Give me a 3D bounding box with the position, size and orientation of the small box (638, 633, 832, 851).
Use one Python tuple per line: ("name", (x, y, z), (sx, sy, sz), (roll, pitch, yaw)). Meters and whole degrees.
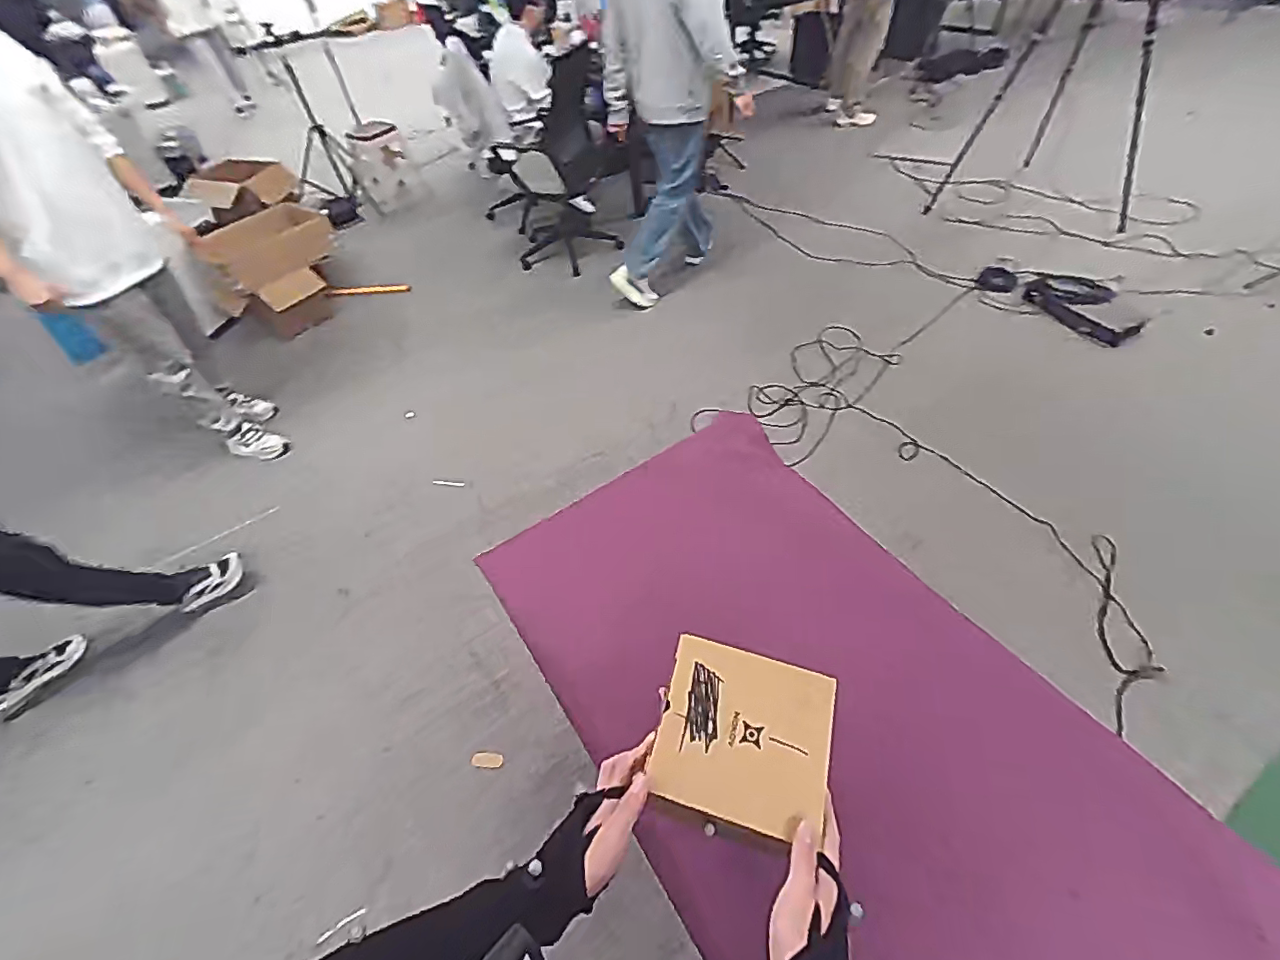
("small box", (0.102, 0.303, 0.619), (0.179, 0.176, 0.168), (14, 54, 9))
